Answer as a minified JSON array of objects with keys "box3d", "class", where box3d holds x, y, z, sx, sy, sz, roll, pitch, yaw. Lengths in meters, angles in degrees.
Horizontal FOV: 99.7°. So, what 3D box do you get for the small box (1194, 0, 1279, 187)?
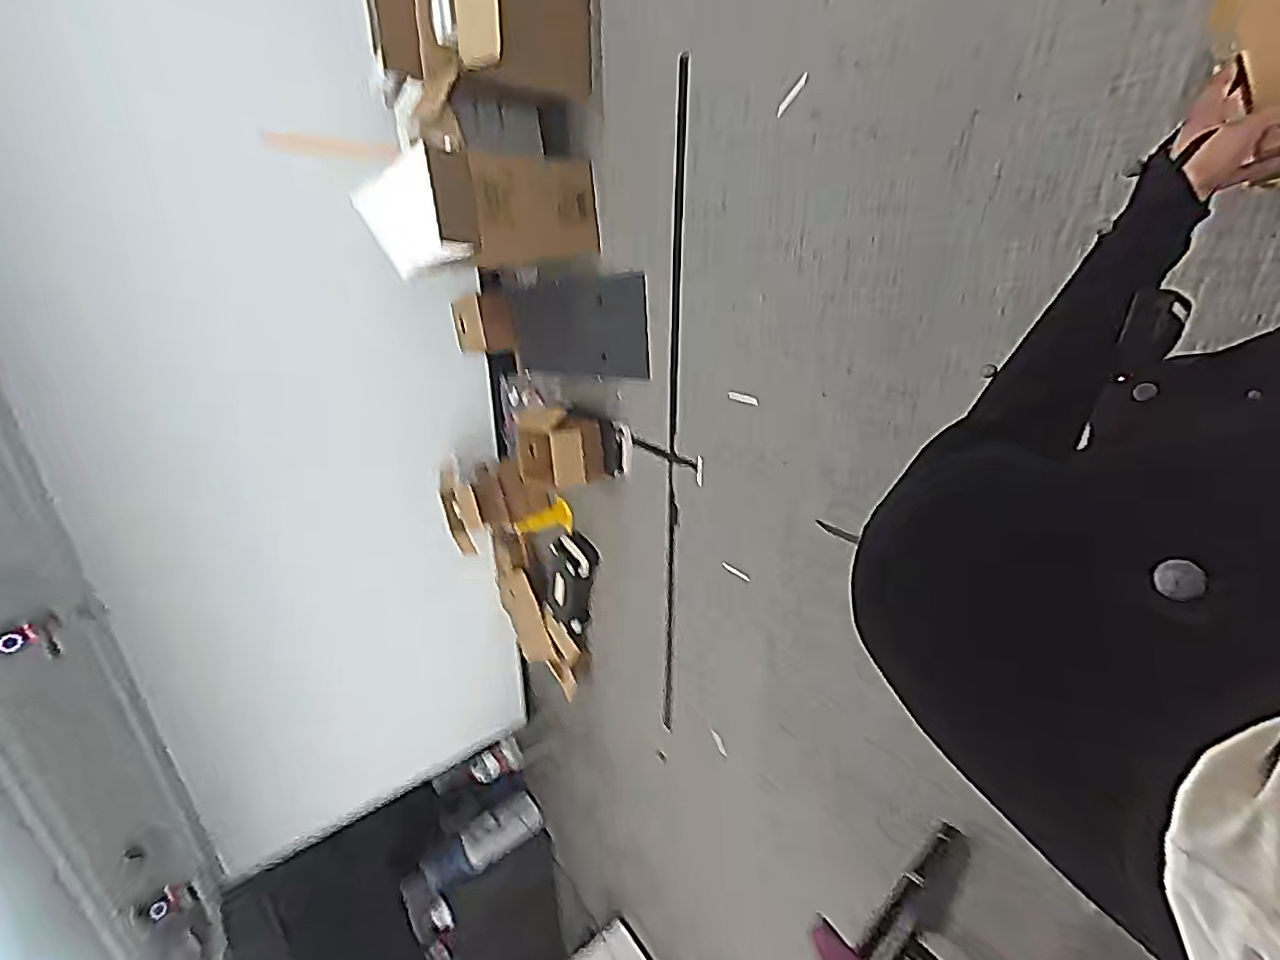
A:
[{"box3d":[0.595,-0.380,0.450,0.168,0.176,0.179,-14,91,46],"class":"small box"}]
